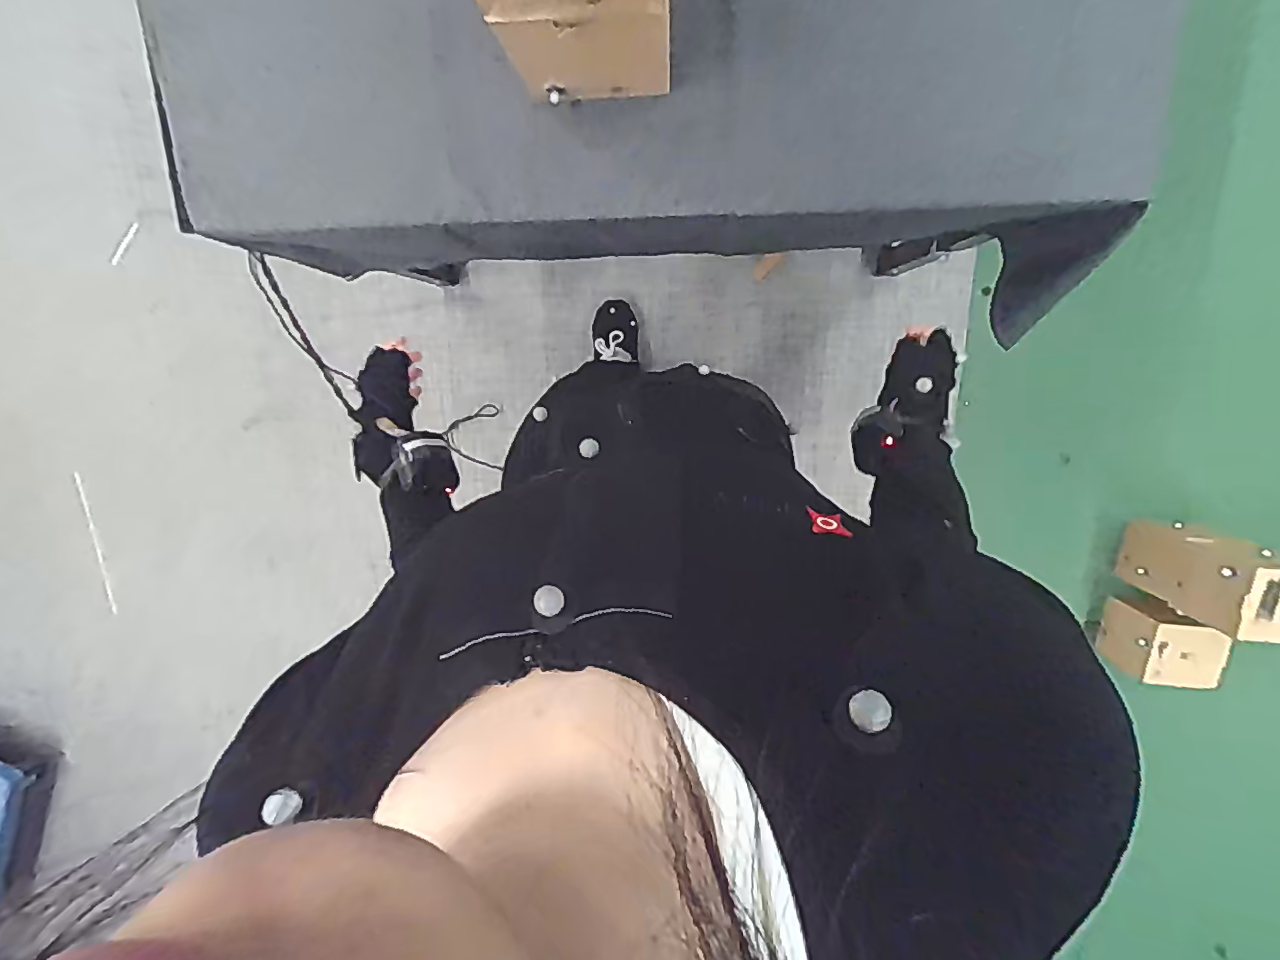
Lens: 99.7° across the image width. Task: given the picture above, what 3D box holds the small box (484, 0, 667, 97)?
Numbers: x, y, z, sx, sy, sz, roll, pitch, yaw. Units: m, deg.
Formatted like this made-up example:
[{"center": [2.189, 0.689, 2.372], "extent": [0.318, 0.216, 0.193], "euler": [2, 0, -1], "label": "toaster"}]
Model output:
[{"center": [-0.058, -0.524, 0.555], "extent": [0.168, 0.176, 0.179], "euler": [0, 102, 5], "label": "small box"}]

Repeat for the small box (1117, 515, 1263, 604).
[{"center": [1.360, 0.192, 1.354], "extent": [0.179, 0.176, 0.168], "euler": [5, 104, 4], "label": "small box"}]

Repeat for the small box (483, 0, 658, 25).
[{"center": [-0.069, -0.487, 0.398], "extent": [0.168, 0.176, 0.179], "euler": [0, 103, 4], "label": "small box"}]
